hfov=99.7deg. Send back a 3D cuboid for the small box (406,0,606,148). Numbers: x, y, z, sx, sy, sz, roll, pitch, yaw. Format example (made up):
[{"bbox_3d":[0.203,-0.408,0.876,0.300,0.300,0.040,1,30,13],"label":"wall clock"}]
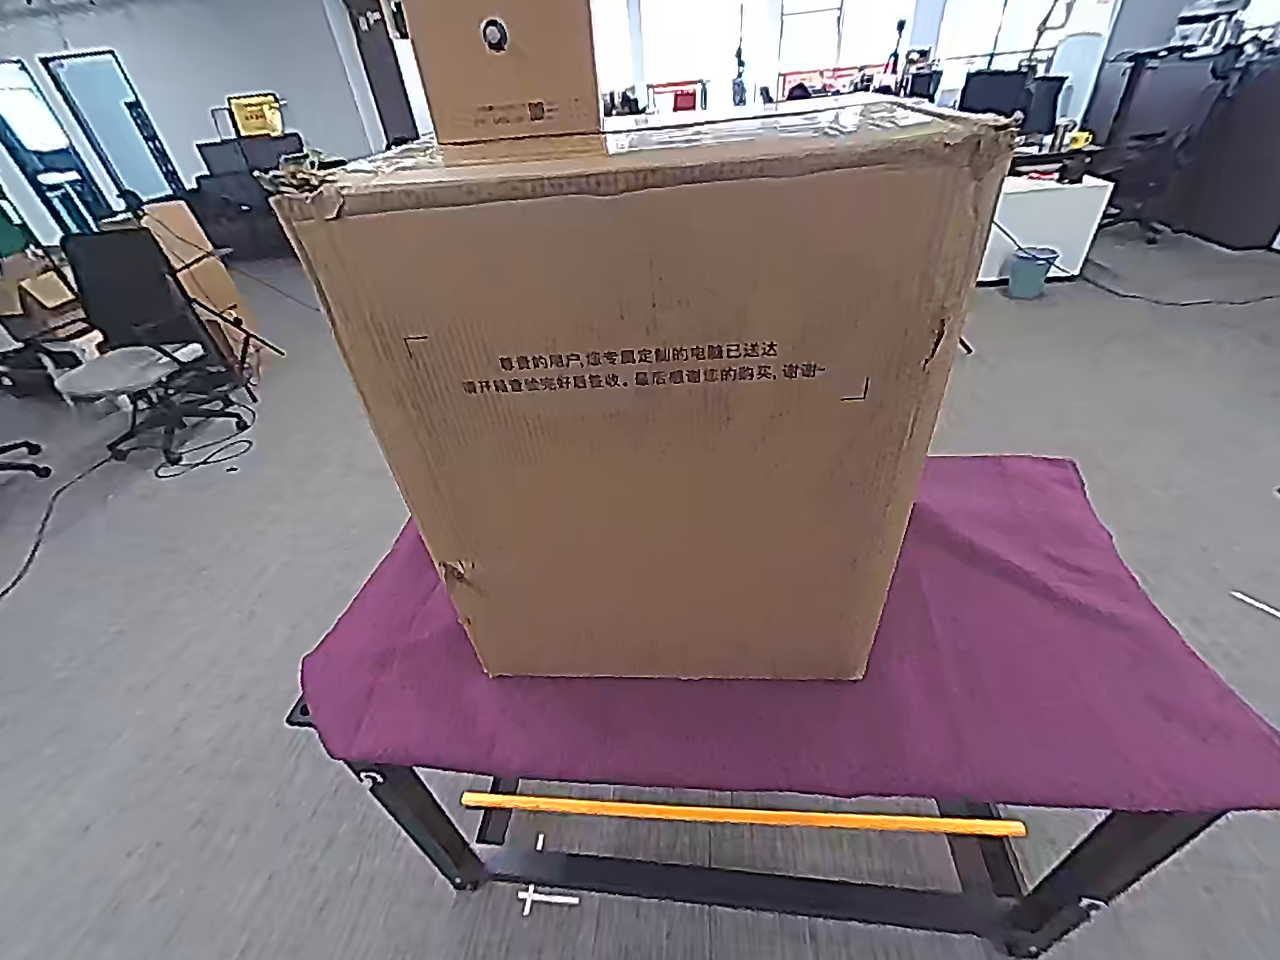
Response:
[{"bbox_3d":[-0.124,-0.446,0.553,0.168,0.176,0.179,-4,37,0],"label":"small box"}]
